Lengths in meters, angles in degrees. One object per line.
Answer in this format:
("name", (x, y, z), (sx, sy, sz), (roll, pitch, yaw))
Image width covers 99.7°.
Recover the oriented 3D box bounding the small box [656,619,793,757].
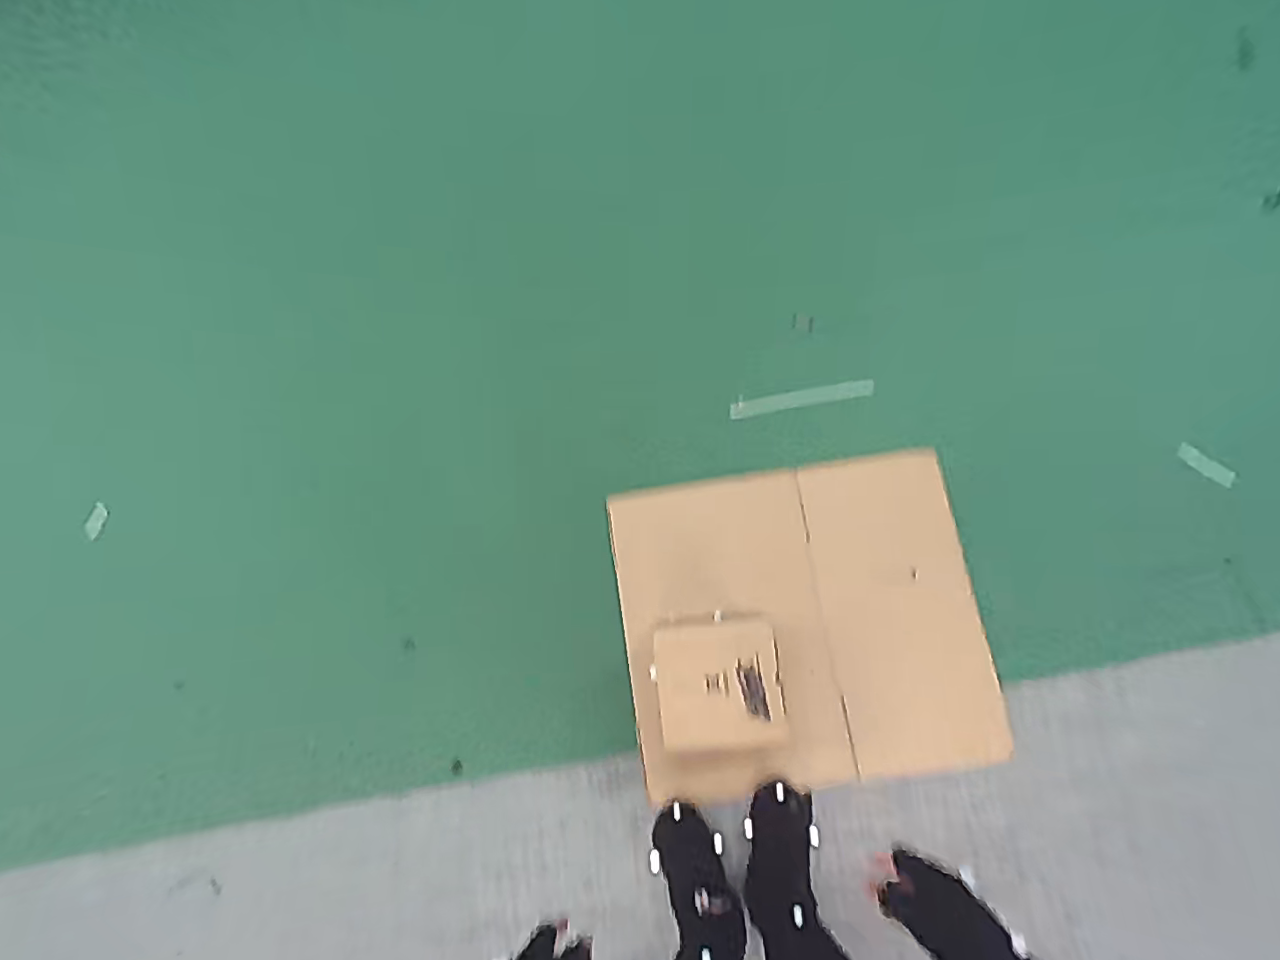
("small box", (0.122, 0.310, 0.835), (0.179, 0.176, 0.168), (-7, 78, 4))
